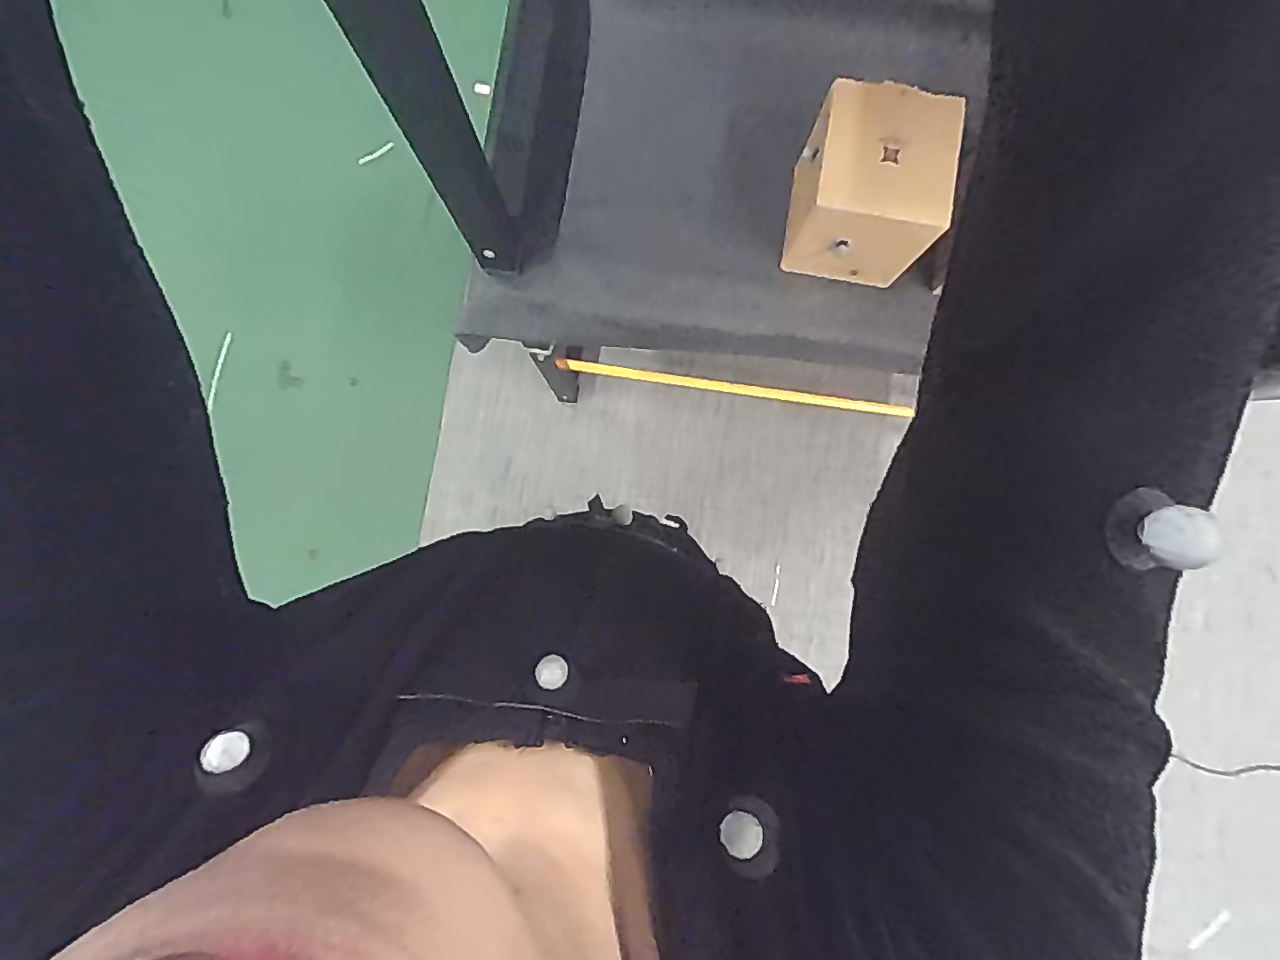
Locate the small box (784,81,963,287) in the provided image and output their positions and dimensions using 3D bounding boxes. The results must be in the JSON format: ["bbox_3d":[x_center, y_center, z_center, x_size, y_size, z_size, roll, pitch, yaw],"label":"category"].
[{"bbox_3d":[0.306,-0.390,0.742,0.168,0.176,0.179,10,83,1],"label":"small box"}]
